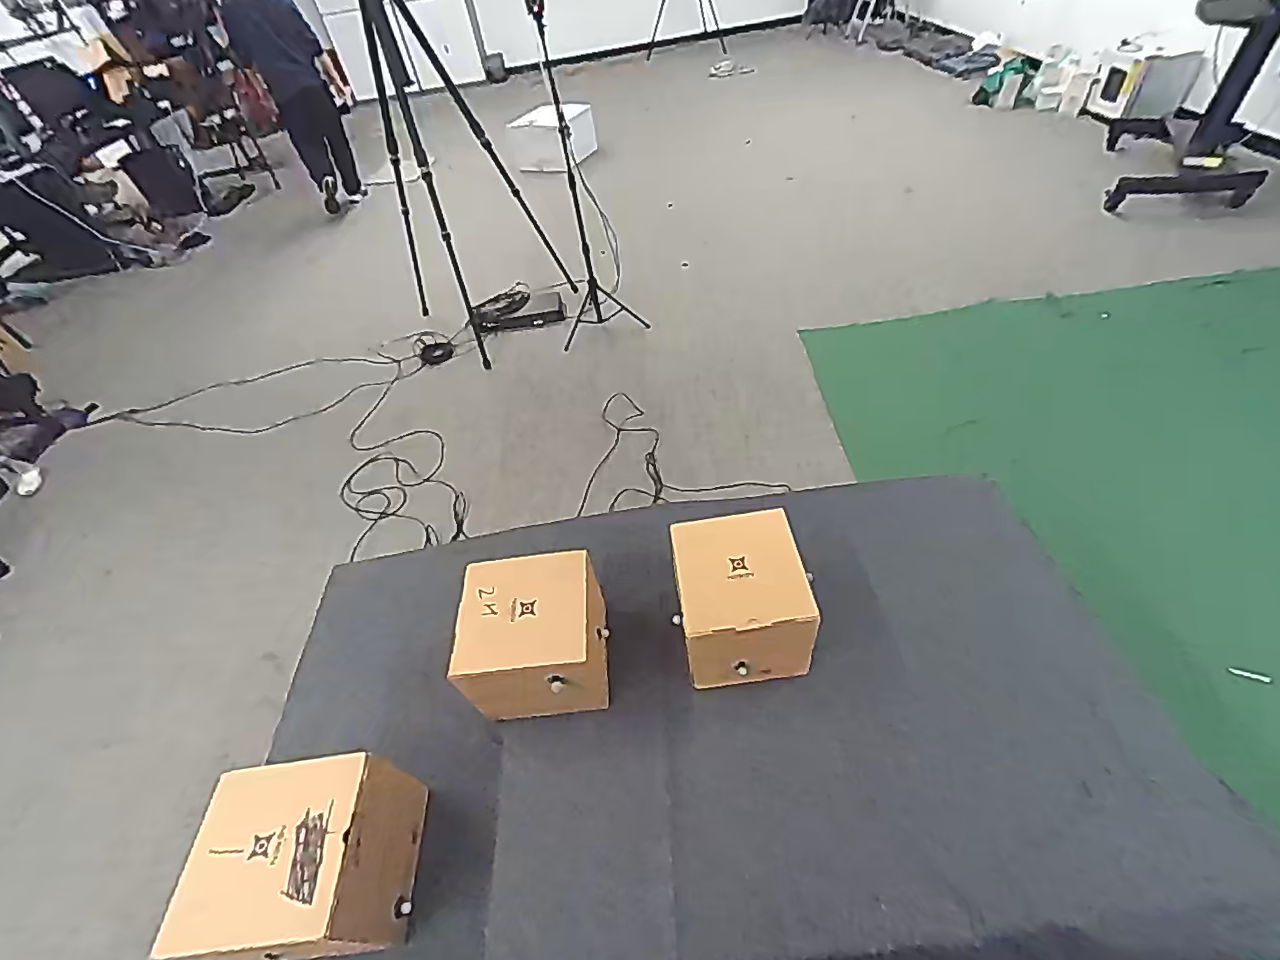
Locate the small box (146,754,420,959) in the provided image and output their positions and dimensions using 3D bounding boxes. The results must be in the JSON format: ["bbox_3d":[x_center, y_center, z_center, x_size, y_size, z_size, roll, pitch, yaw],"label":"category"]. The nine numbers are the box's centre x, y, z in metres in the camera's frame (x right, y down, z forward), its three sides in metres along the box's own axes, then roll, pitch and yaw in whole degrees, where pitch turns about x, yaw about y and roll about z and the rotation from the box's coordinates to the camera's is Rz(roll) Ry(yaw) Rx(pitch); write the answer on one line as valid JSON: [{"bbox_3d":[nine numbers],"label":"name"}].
[{"bbox_3d":[-0.376,0.433,0.616,0.179,0.176,0.168,-8,46,2],"label":"small box"}]

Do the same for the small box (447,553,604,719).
[{"bbox_3d":[-0.147,0.225,0.770,0.179,0.176,0.168,-7,48,3],"label":"small box"}]

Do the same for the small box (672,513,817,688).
[{"bbox_3d":[0.138,0.174,0.776,0.168,0.176,0.179,-8,48,1],"label":"small box"}]
